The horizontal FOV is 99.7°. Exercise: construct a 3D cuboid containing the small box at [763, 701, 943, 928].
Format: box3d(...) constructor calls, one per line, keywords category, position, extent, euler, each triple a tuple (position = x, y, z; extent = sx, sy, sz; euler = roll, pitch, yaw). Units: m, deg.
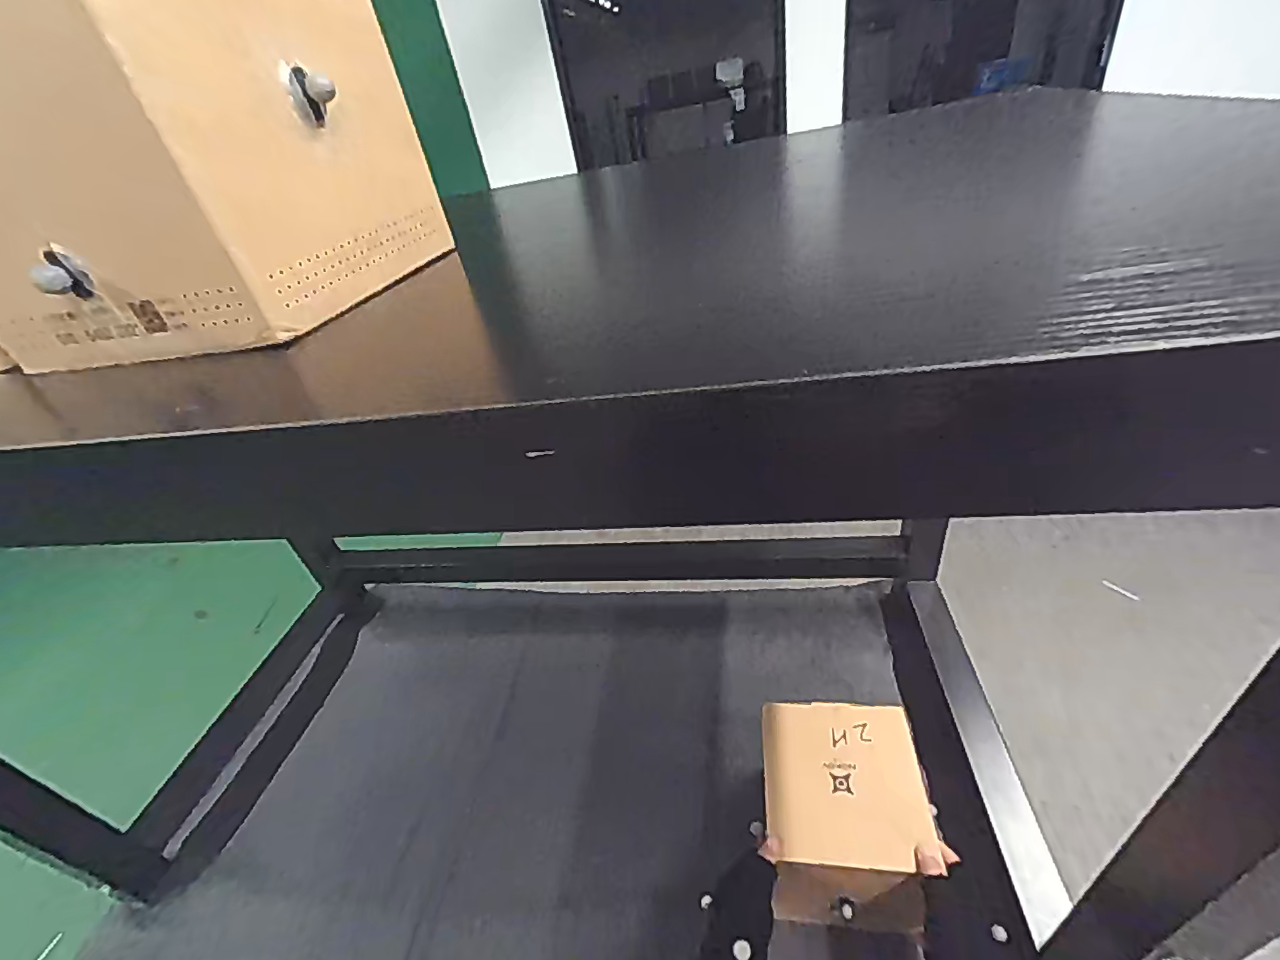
box3d(category="small box", position=(0.235, 0.389, 0.636), extent=(0.168, 0.176, 0.179), euler=(-3, 35, 12))
